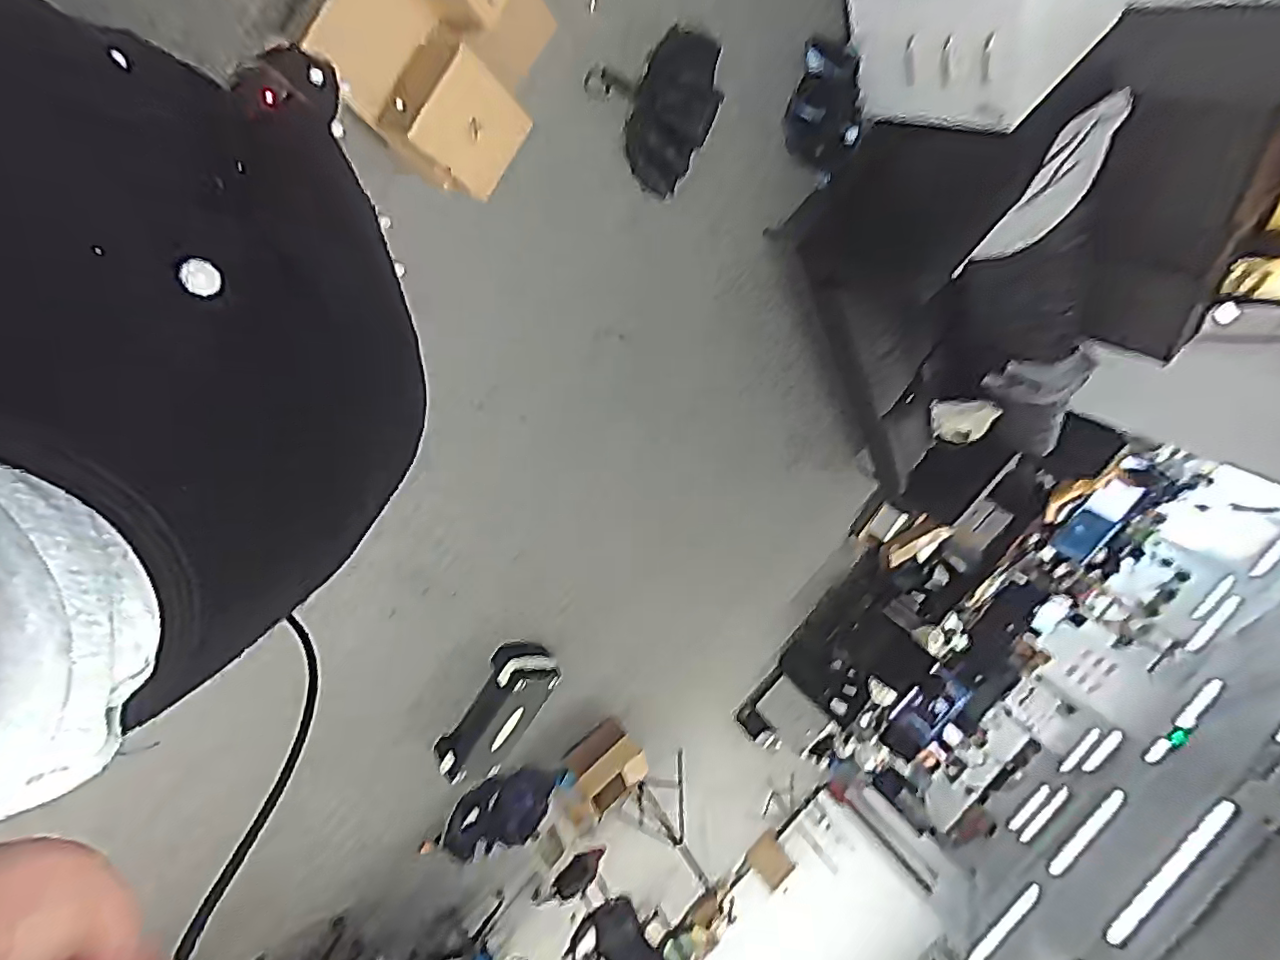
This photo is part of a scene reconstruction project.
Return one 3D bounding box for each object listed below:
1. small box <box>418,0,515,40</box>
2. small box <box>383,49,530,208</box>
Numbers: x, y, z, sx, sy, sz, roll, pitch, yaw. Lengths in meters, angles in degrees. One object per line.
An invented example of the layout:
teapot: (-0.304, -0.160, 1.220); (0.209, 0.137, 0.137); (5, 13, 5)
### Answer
small box: (-0.293, -0.856, 0.868); (0.168, 0.176, 0.179); (-53, 137, 4)
small box: (-0.343, -0.641, 0.990); (0.179, 0.176, 0.168); (-56, 143, 6)
